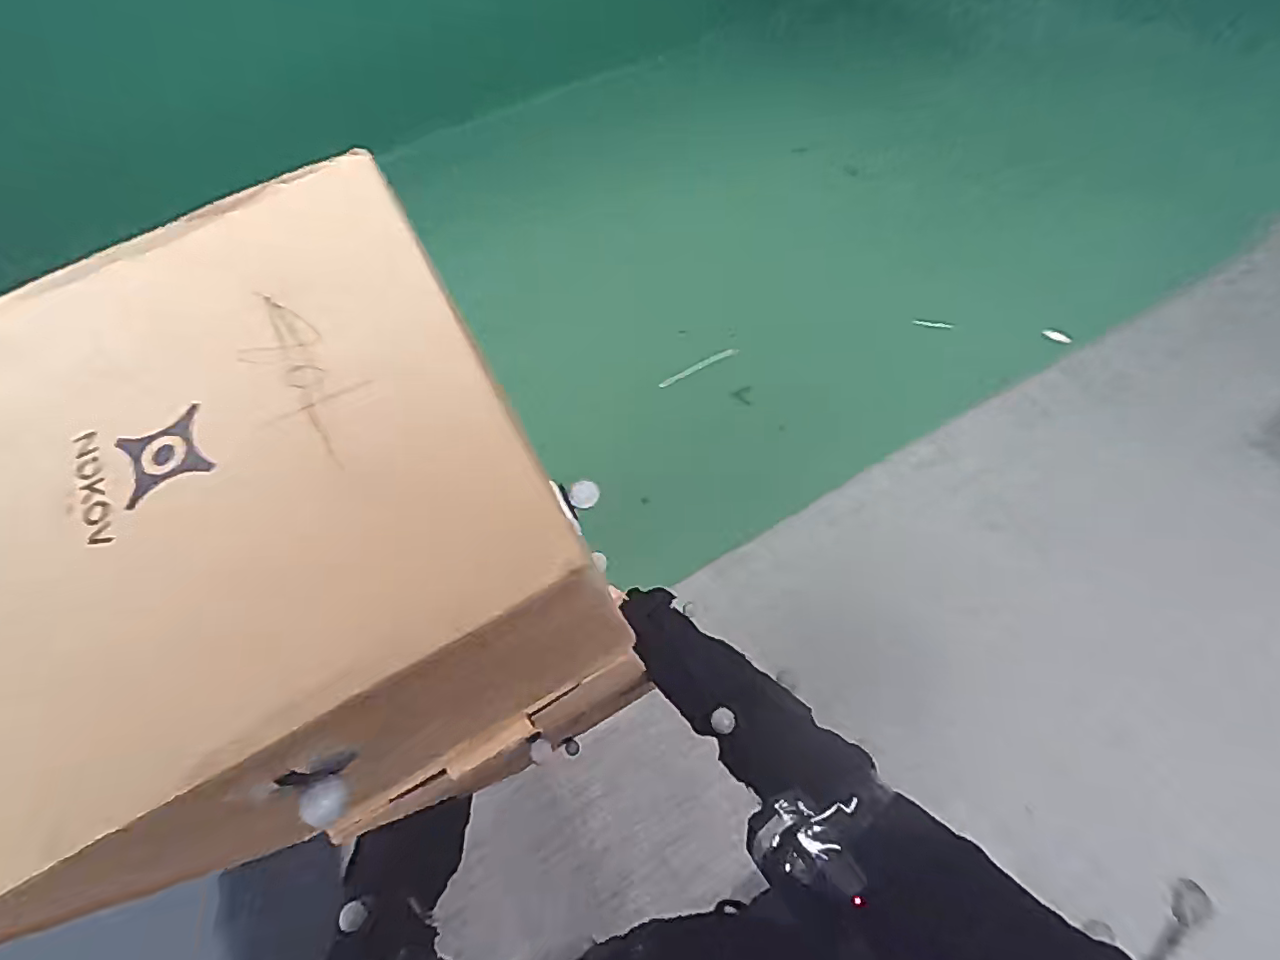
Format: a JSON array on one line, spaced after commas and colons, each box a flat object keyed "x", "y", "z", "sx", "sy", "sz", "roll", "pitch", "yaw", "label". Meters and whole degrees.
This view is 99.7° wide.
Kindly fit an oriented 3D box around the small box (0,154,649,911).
[{"x": -0.109, "y": 0.023, "z": 0.219, "sx": 0.179, "sy": 0.176, "sz": 0.168, "roll": -28, "pitch": 69, "yaw": -8, "label": "small box"}]
